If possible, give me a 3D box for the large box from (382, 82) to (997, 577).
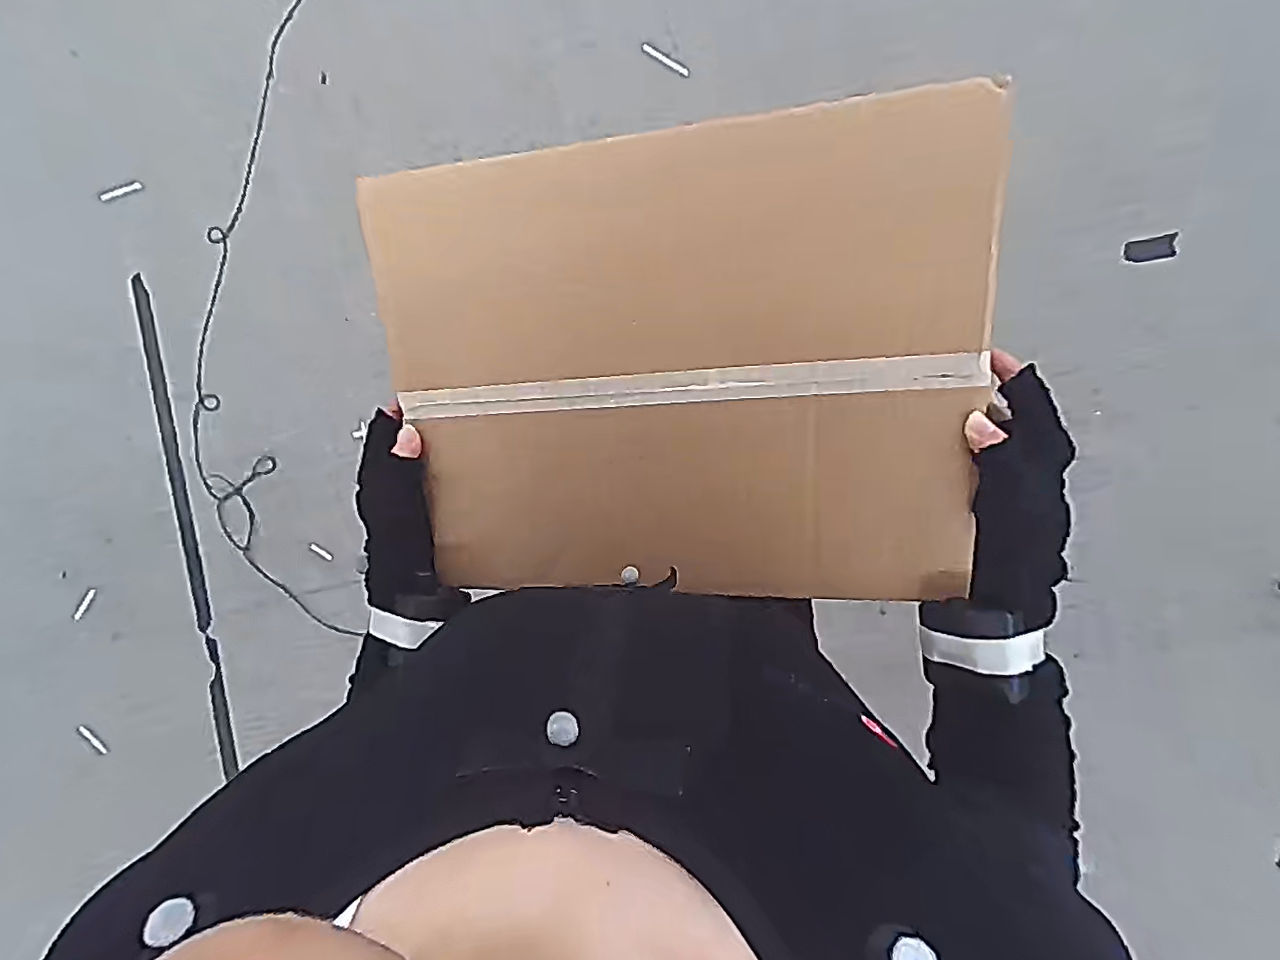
[{"bbox_3d":[0.047,-0.114,0.524,0.408,0.320,0.320,-1,108,12],"label":"large box"}]
